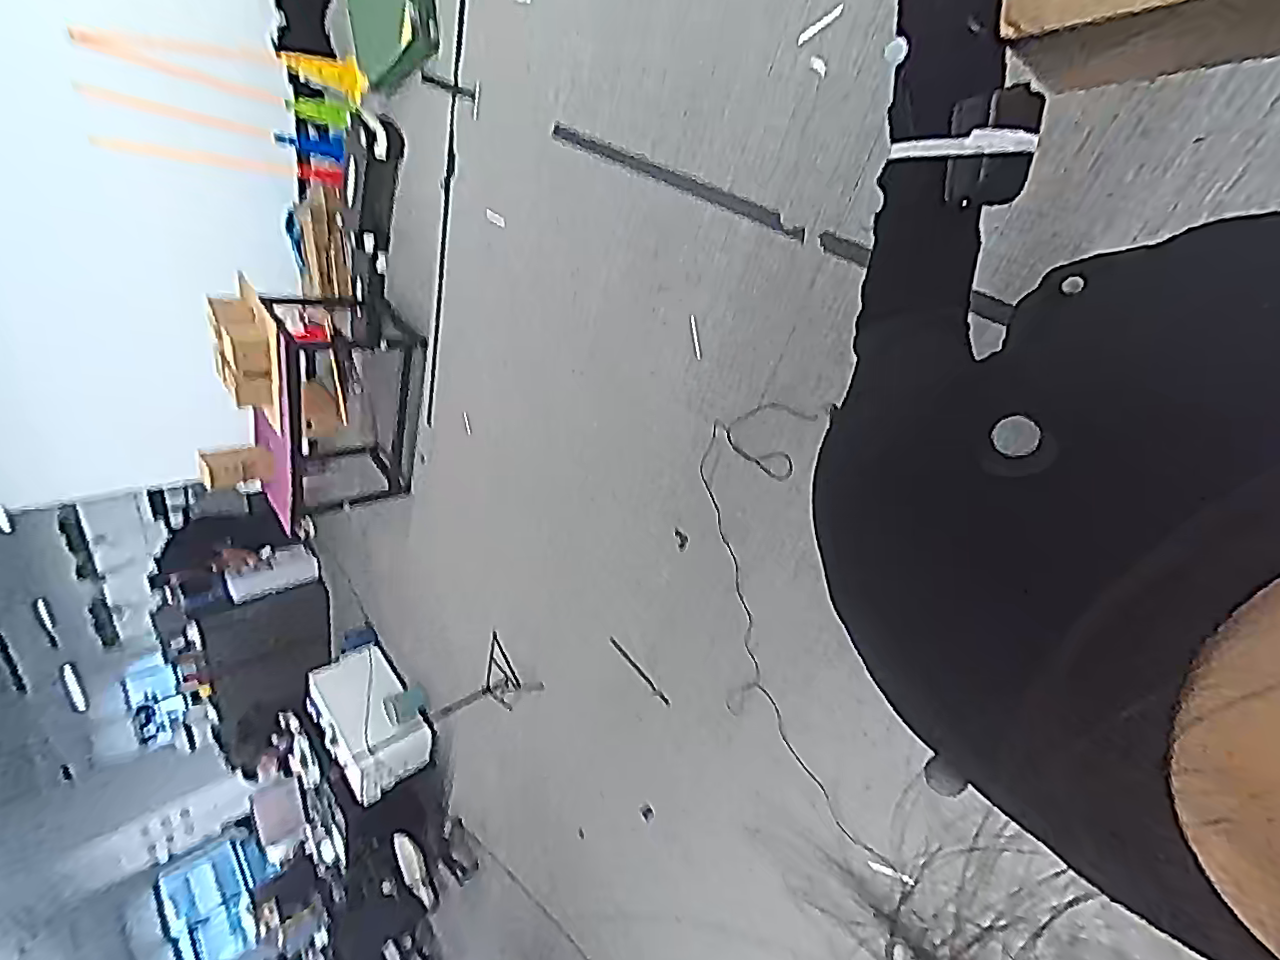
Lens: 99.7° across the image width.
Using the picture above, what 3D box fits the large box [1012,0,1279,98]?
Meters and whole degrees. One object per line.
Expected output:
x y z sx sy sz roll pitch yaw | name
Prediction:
0.465 -0.434 0.271 0.408 0.320 0.320 14 122 36 | large box
